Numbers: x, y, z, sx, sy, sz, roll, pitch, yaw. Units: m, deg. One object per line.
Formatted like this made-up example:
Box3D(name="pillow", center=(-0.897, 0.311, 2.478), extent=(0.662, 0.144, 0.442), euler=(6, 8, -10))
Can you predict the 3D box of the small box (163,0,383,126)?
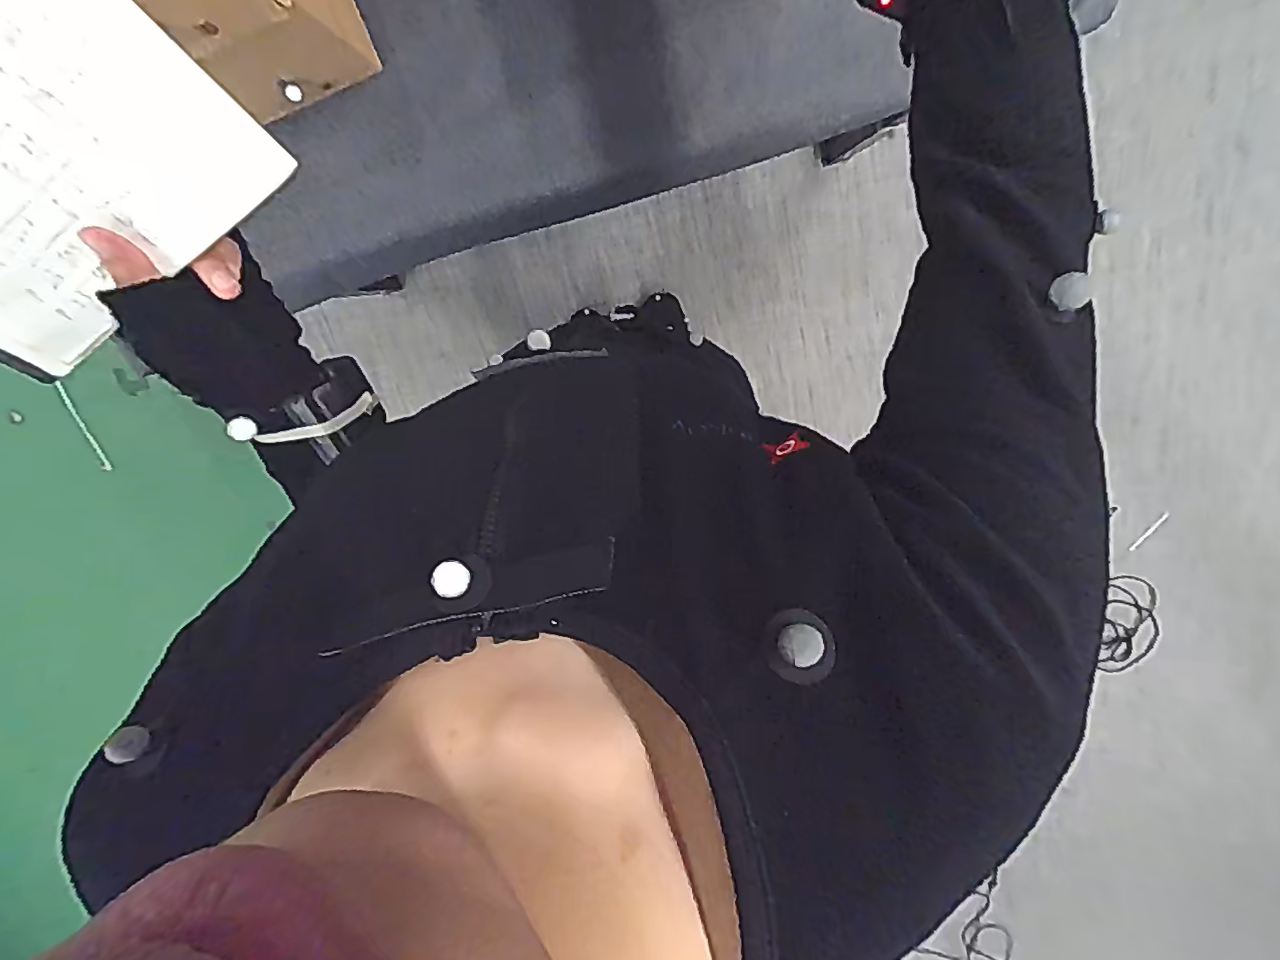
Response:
Box3D(name="small box", center=(-0.380, -0.470, 0.500), extent=(0.168, 0.176, 0.179), euler=(-18, 108, 8))
